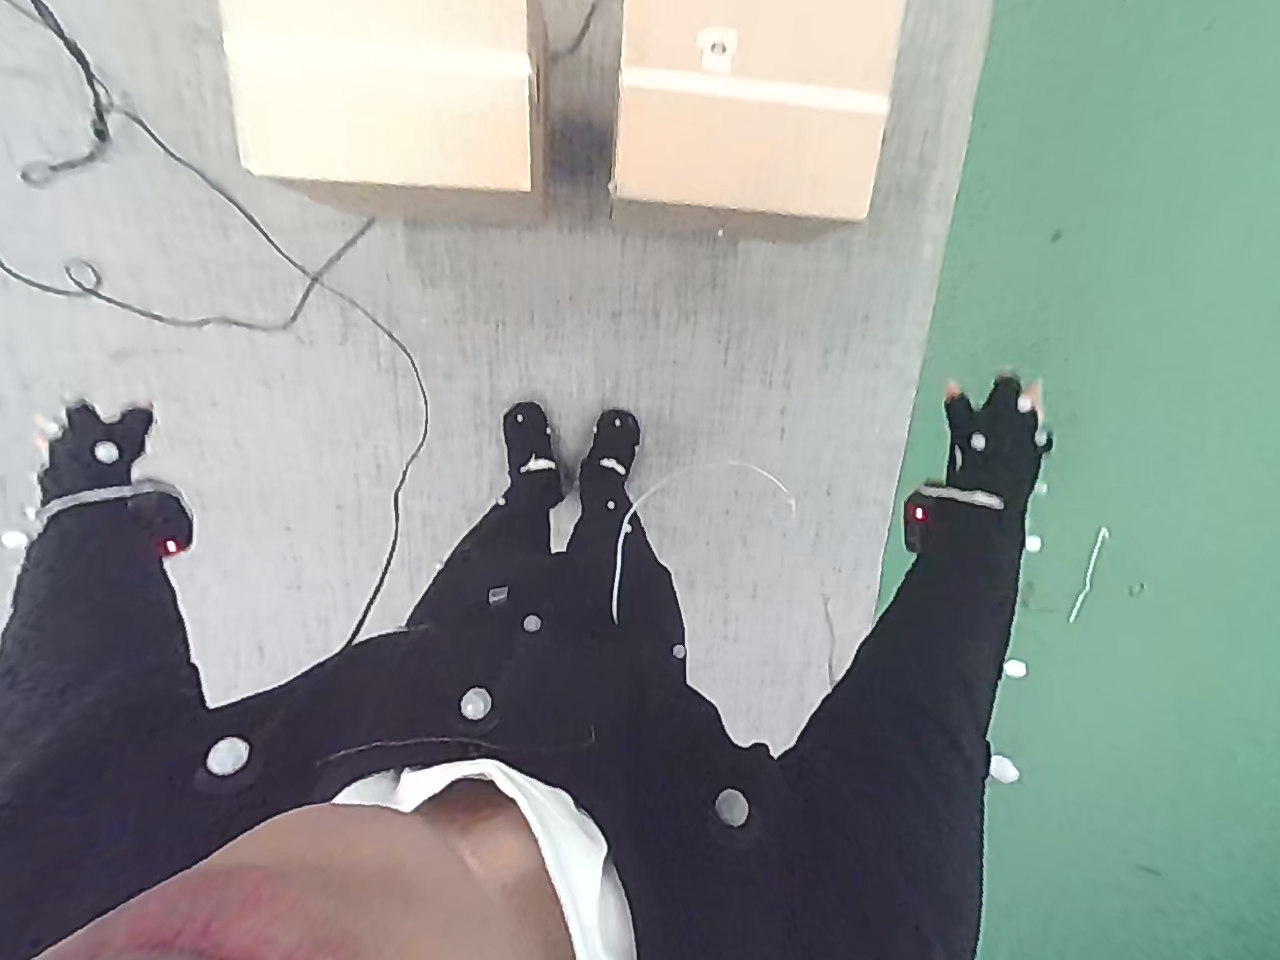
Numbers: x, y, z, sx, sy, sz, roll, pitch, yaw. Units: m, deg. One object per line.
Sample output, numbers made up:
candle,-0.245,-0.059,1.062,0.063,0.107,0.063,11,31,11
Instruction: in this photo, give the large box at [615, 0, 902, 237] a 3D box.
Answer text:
large box,0.168,-0.624,0.955,0.408,0.320,0.320,4,107,-5
